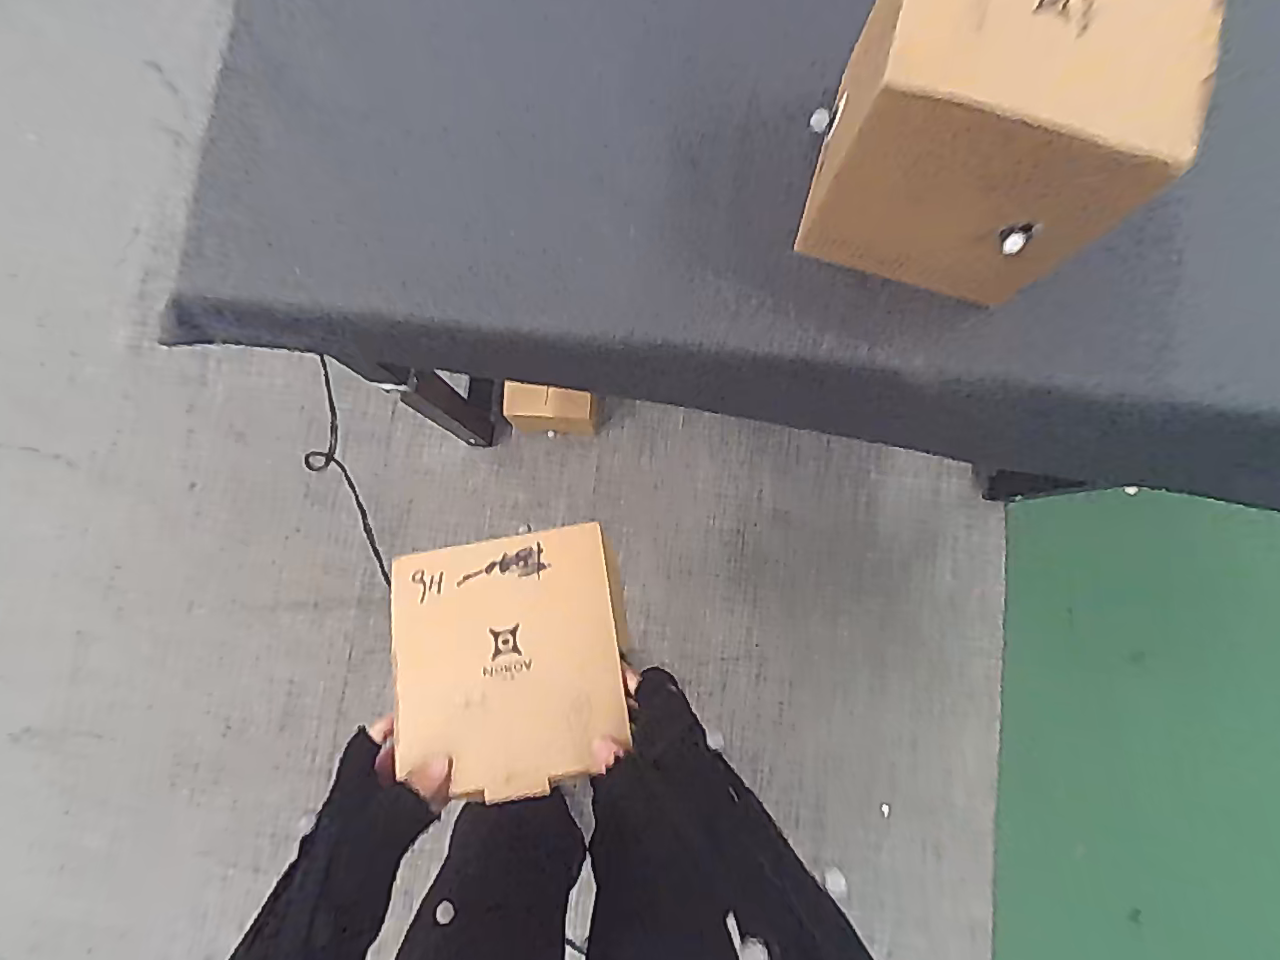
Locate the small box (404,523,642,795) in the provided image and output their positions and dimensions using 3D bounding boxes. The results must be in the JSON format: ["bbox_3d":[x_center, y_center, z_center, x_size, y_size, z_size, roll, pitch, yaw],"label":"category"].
[{"bbox_3d":[-0.092,0.152,0.481,0.168,0.176,0.179,-10,71,-2],"label":"small box"}]

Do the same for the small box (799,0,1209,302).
[{"bbox_3d":[0.238,-0.253,0.391,0.179,0.176,0.168,15,80,2],"label":"small box"}]

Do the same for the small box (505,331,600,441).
[{"bbox_3d":[-0.171,-0.185,1.107,0.168,0.176,0.179,3,83,-1],"label":"small box"}]
